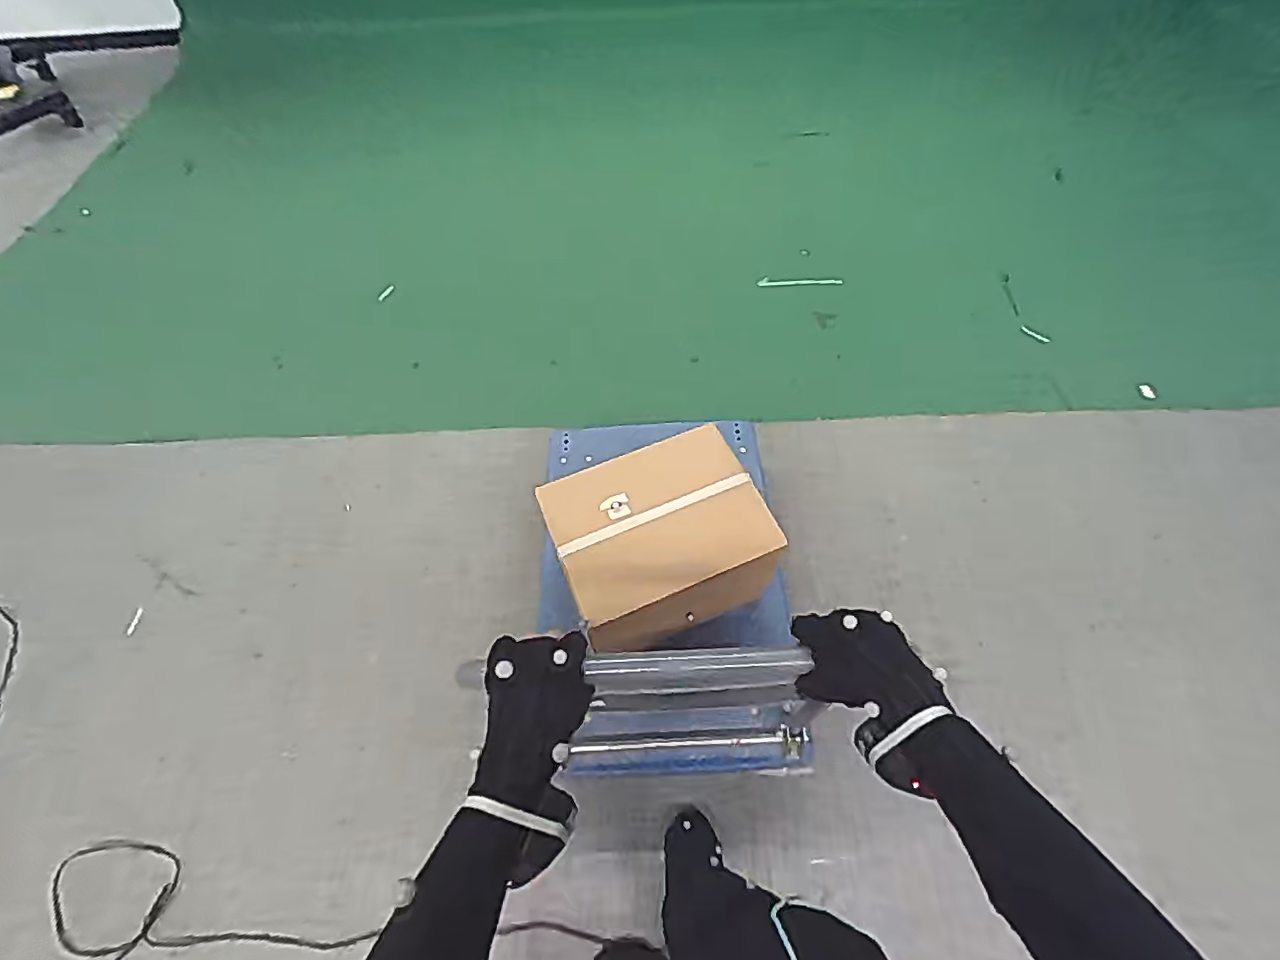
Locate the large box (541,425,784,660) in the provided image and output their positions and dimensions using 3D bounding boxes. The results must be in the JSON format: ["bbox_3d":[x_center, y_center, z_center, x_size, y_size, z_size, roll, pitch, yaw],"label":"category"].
[{"bbox_3d":[0.044,0.144,1.191,0.408,0.320,0.320,-22,60,-9],"label":"large box"}]
